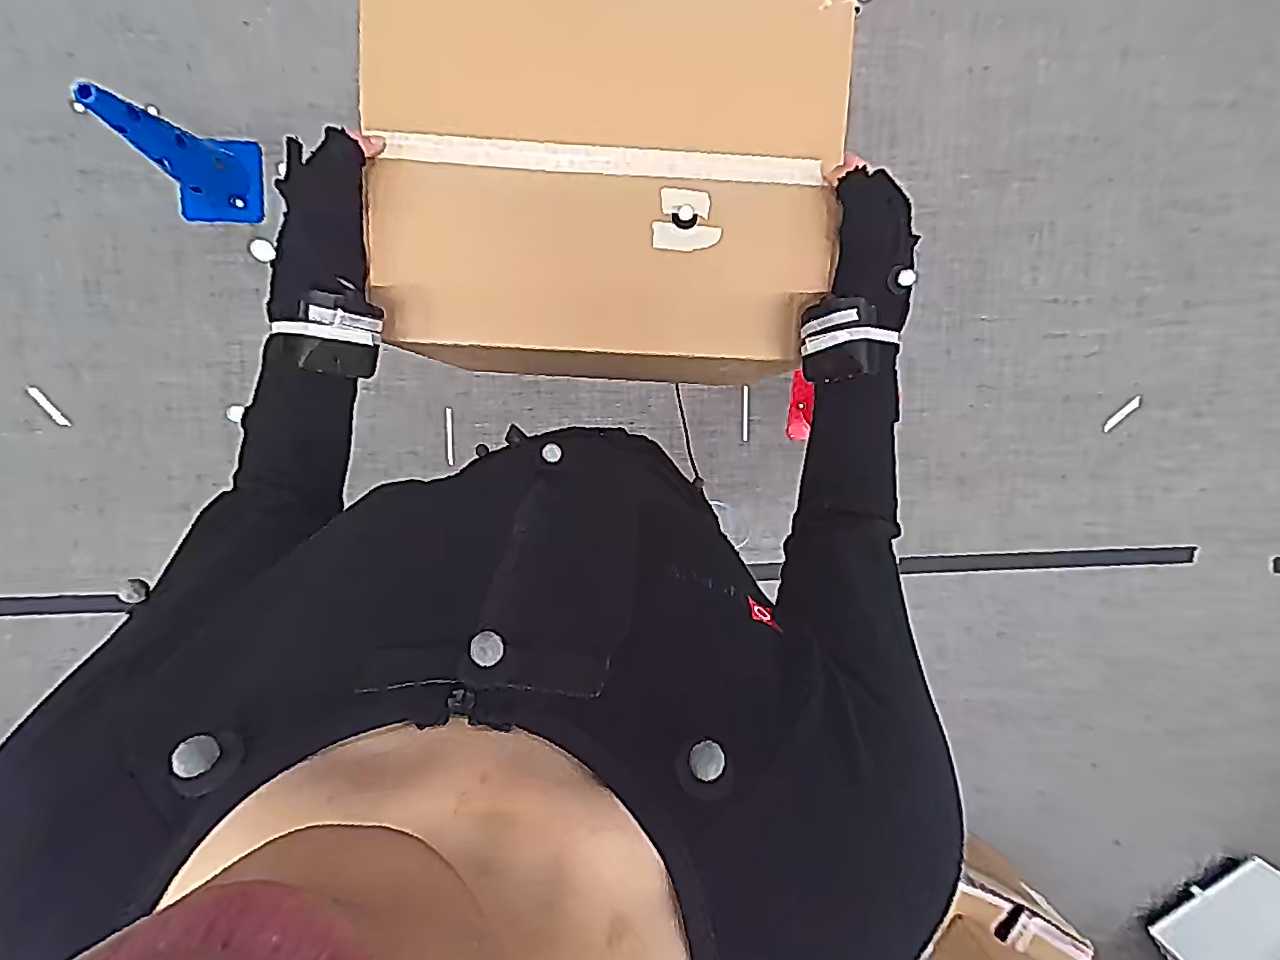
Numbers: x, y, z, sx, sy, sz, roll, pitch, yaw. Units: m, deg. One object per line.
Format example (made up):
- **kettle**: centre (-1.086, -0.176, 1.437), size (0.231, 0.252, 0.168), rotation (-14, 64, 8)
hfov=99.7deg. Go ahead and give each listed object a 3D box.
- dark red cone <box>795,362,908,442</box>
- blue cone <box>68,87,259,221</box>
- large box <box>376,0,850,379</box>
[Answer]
- **dark red cone**: centre (0.524, -0.194, 1.288), size (0.201, 0.394, 0.202), rotation (5, 94, -2)
- **blue cone**: centre (-1.053, -0.738, 1.200), size (0.192, 0.380, 0.193), rotation (2, 95, -2)
- **large box**: centre (-0.032, -0.286, 0.611), size (0.408, 0.320, 0.320), rotation (2, 96, -4)
